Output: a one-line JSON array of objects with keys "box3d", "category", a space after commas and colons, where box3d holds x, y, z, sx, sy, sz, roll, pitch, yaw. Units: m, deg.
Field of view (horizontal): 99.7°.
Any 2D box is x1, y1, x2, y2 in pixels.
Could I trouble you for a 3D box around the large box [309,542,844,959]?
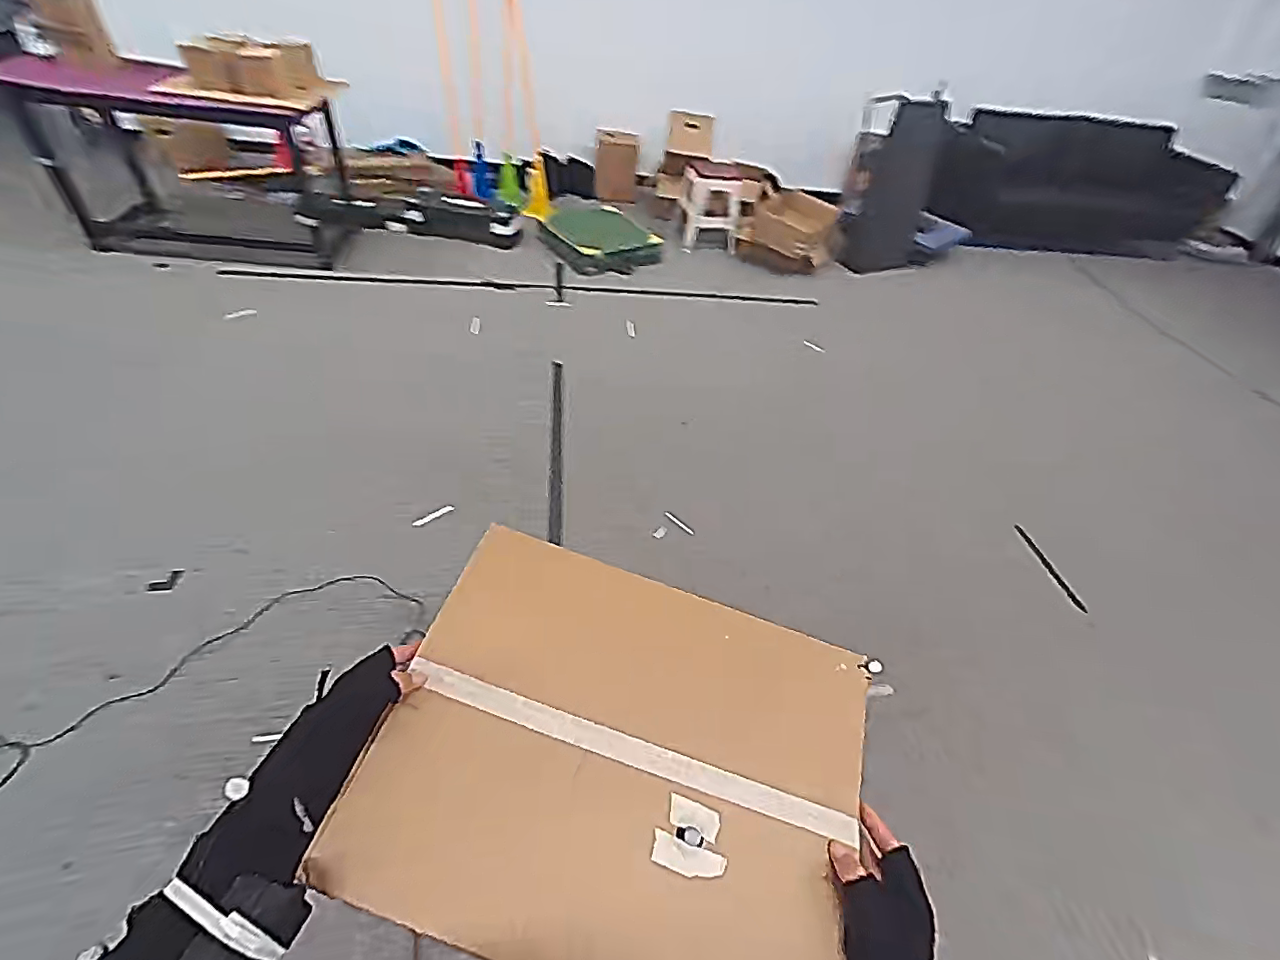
[{"box3d": [-0.042, 0.321, 0.595, 0.408, 0.320, 0.320, 18, 55, 2], "category": "large box"}]
